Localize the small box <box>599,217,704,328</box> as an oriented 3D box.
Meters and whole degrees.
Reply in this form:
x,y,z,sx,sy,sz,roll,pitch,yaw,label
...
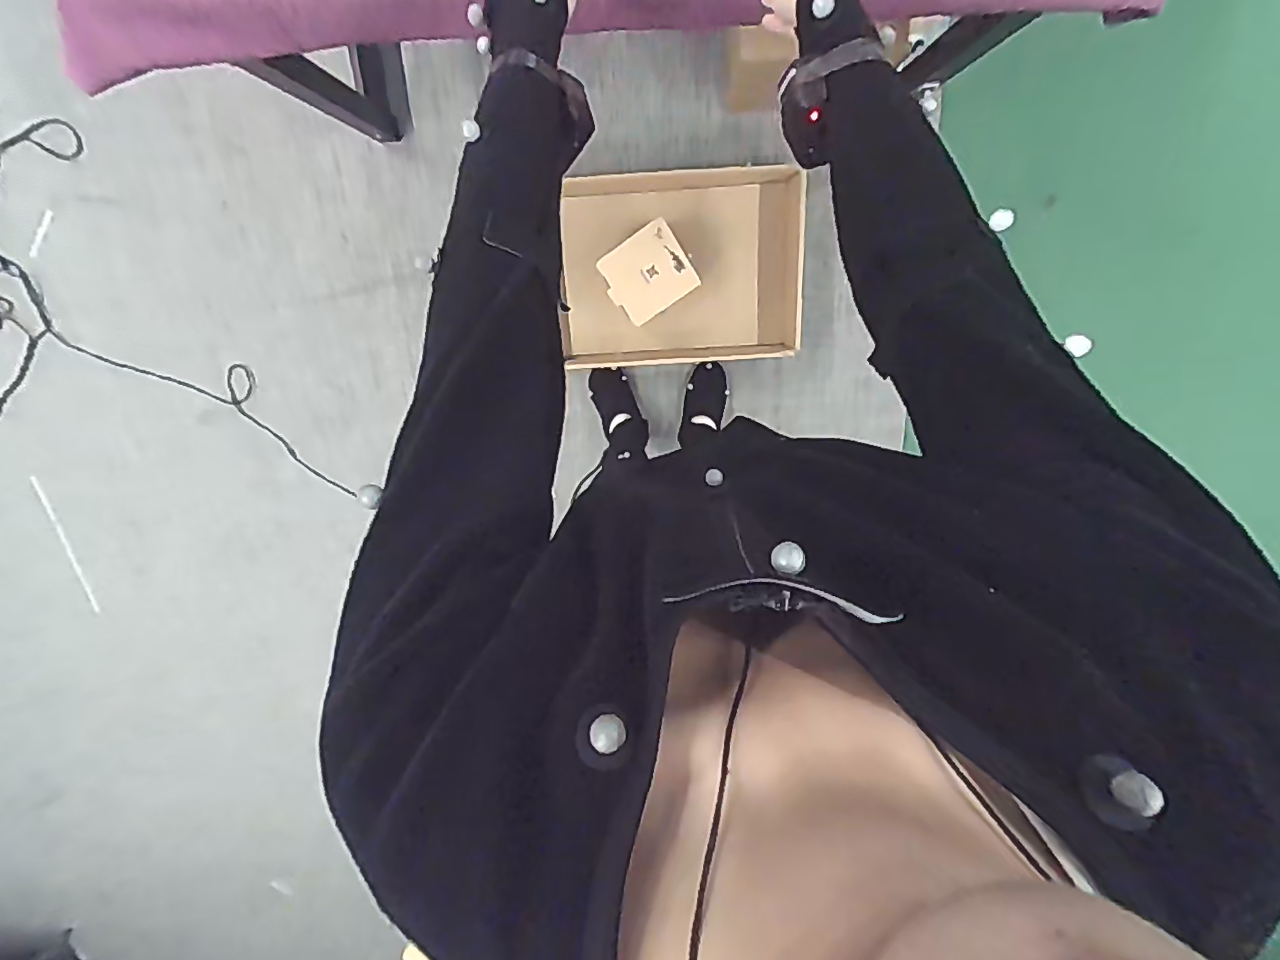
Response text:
x,y,z,sx,sy,sz,roll,pitch,yaw,label
0.031,-0.468,1.238,0.179,0.176,0.168,-31,105,12,small box
